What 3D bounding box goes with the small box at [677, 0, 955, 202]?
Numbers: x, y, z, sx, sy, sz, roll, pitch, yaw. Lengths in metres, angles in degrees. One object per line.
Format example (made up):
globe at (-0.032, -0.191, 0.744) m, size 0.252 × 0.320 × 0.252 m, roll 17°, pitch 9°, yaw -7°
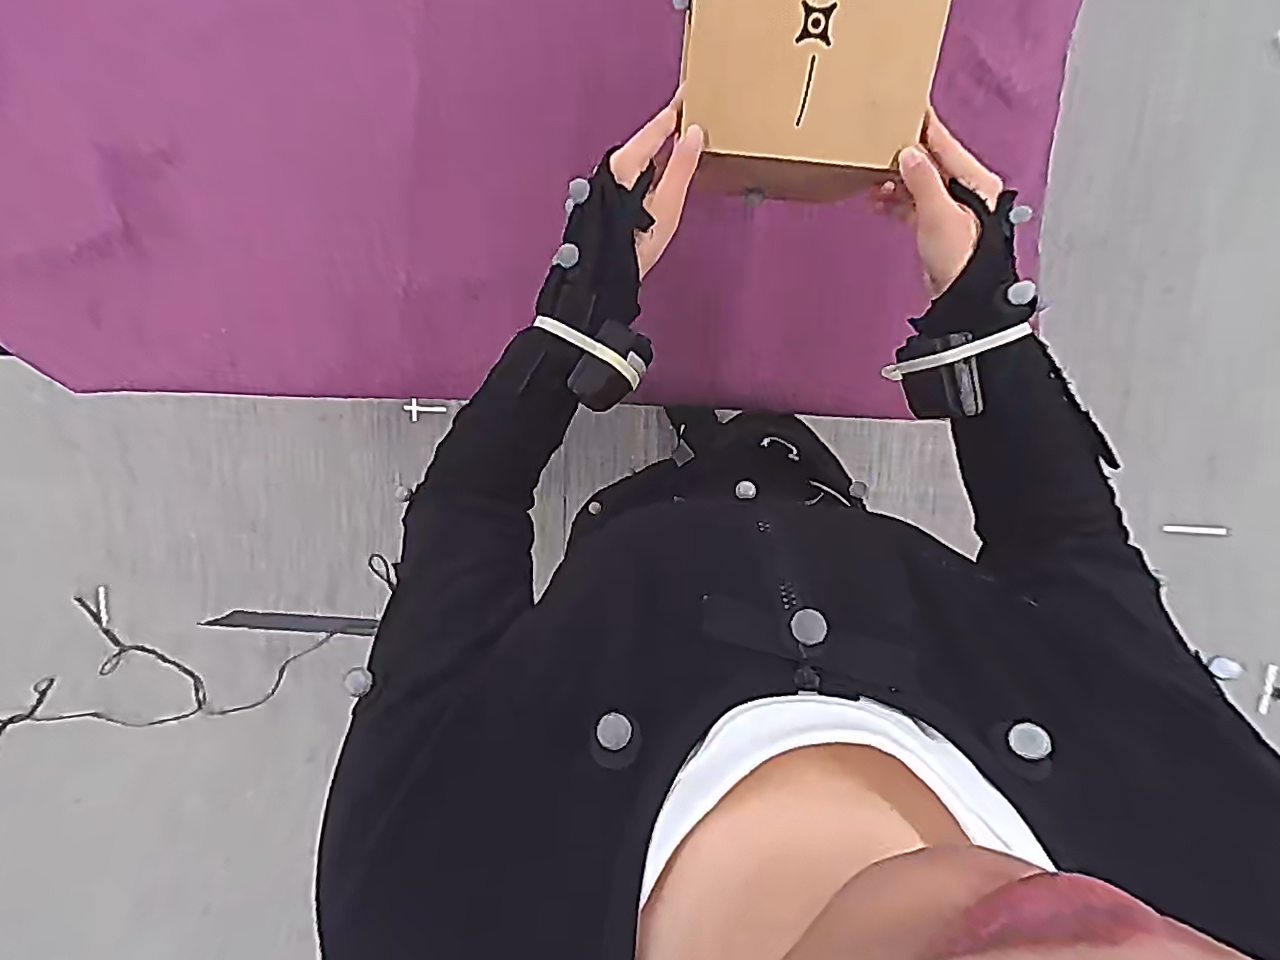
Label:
small box at (0.120, -0.334, 0.422) m, size 0.168 × 0.176 × 0.179 m, roll 5°, pitch 109°, yaw -1°
